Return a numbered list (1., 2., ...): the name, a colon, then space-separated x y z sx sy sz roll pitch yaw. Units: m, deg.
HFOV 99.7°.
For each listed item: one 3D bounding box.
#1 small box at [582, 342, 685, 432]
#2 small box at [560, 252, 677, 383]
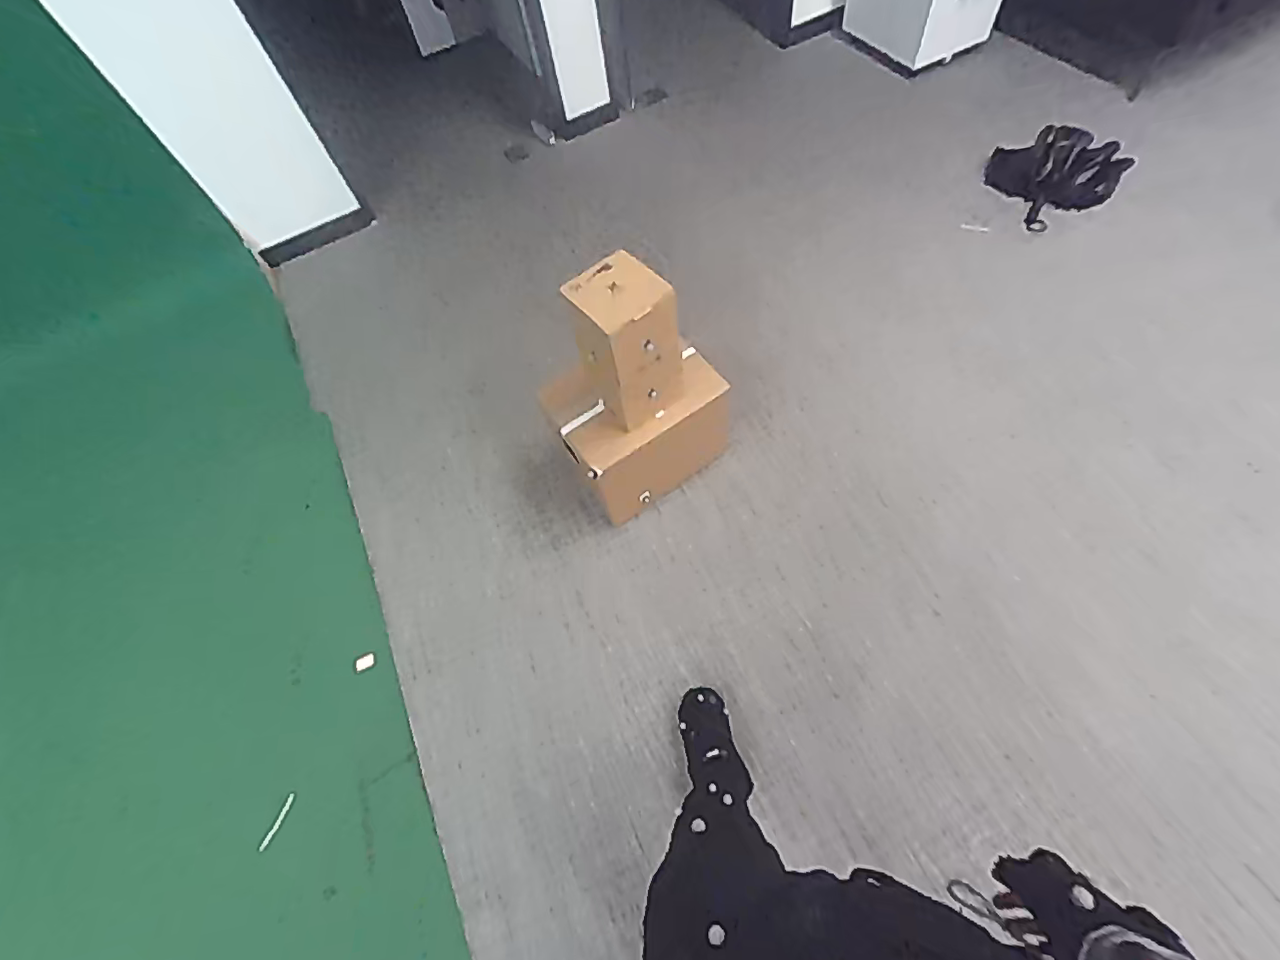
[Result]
1. small box: -0.011 -0.249 1.267 0.179 0.176 0.168 -38 63 -14
2. small box: -0.037 -0.329 1.127 0.168 0.176 0.179 -36 63 -12
